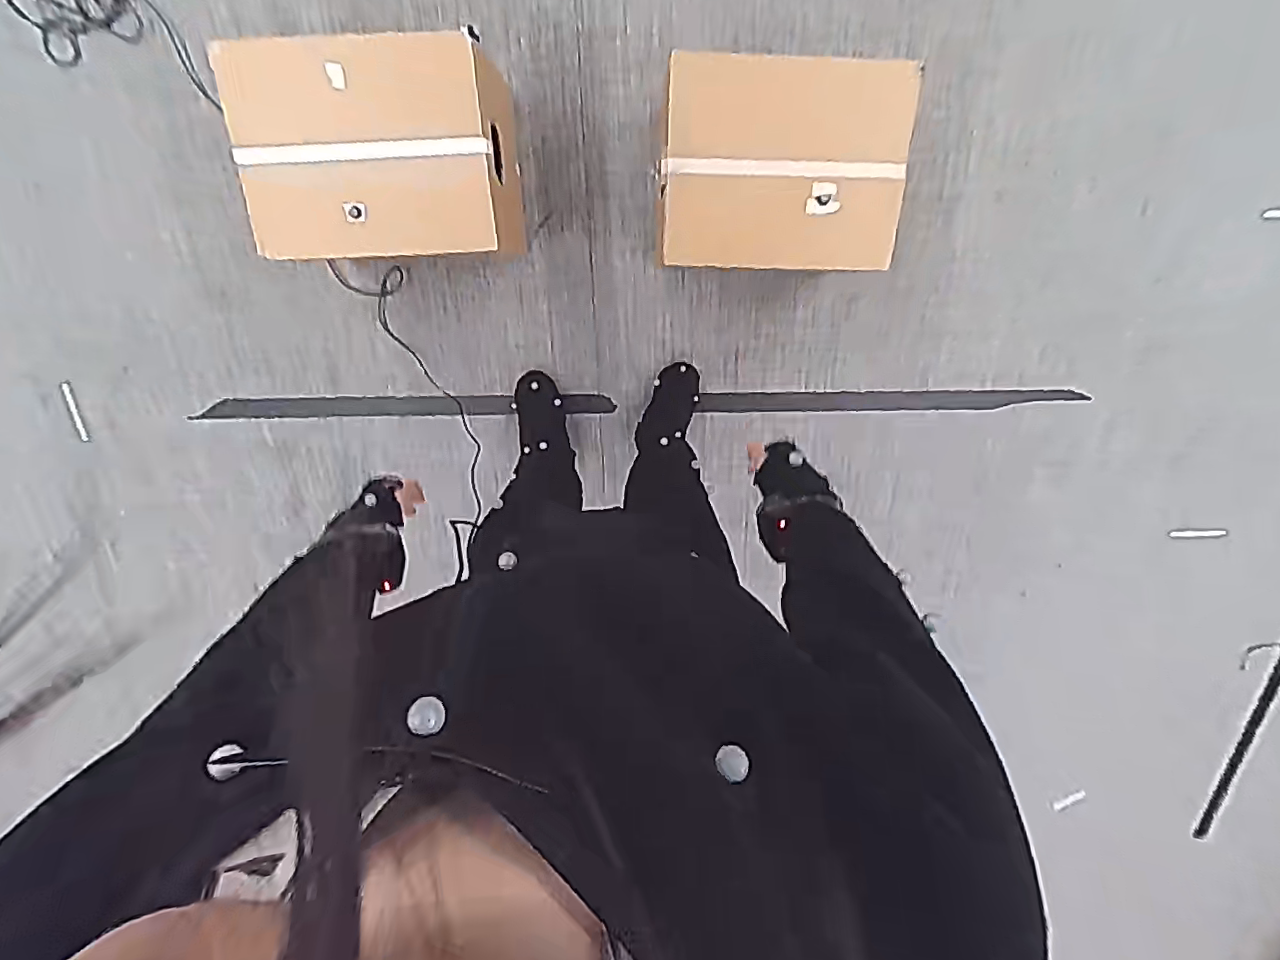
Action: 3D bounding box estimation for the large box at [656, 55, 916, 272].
[{"bbox_3d":[0.240,-0.576,1.053,0.408,0.320,0.320,1,111,-3],"label":"large box"}]
